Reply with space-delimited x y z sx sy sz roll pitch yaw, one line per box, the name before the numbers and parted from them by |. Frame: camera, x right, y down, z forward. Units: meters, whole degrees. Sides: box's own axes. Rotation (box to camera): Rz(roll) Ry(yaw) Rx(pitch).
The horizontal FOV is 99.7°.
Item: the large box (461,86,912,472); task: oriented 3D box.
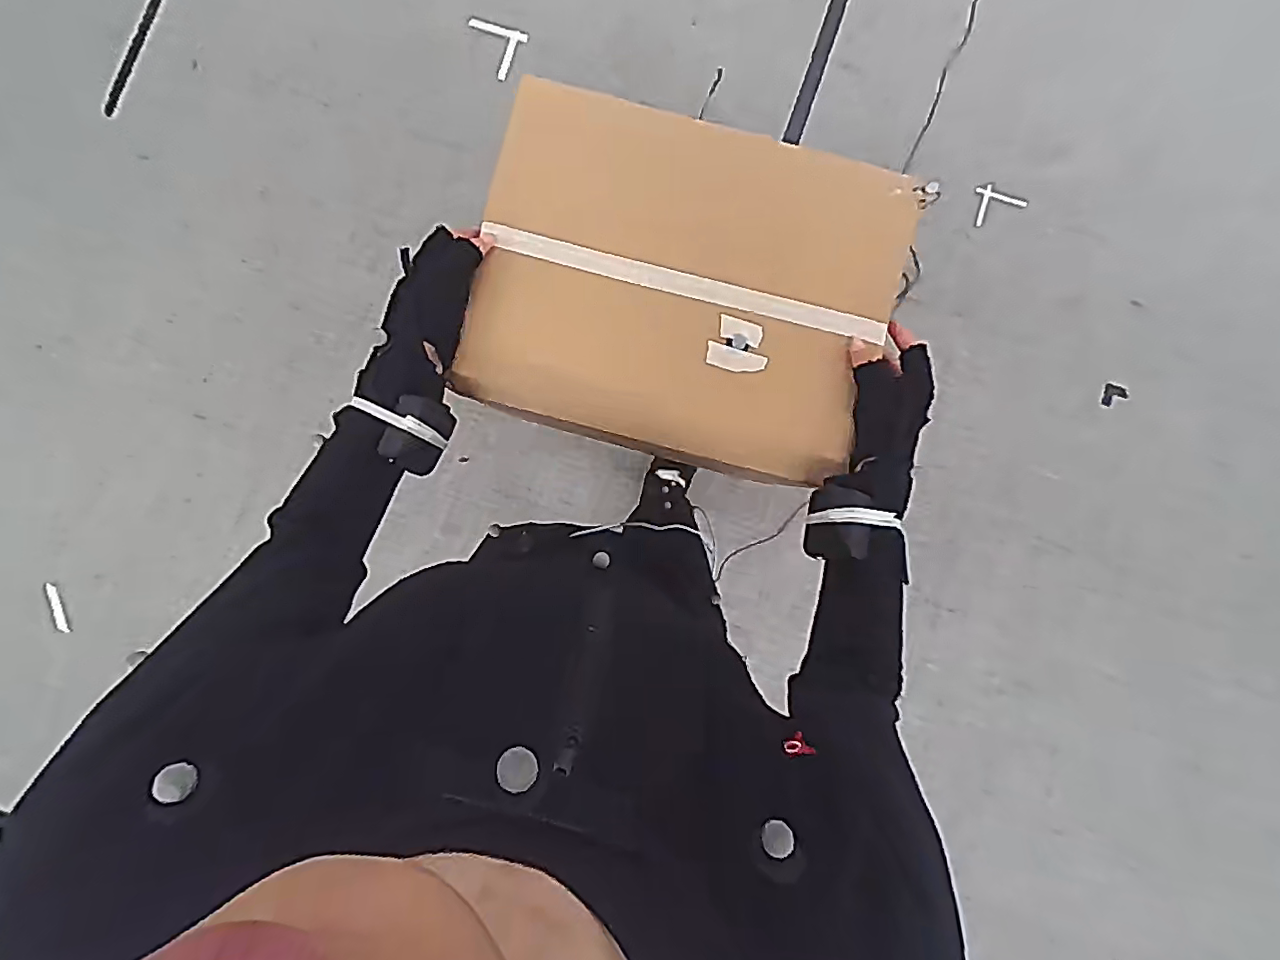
large box | 0.043 -0.204 0.691 0.408 0.320 0.320 15 92 -1
